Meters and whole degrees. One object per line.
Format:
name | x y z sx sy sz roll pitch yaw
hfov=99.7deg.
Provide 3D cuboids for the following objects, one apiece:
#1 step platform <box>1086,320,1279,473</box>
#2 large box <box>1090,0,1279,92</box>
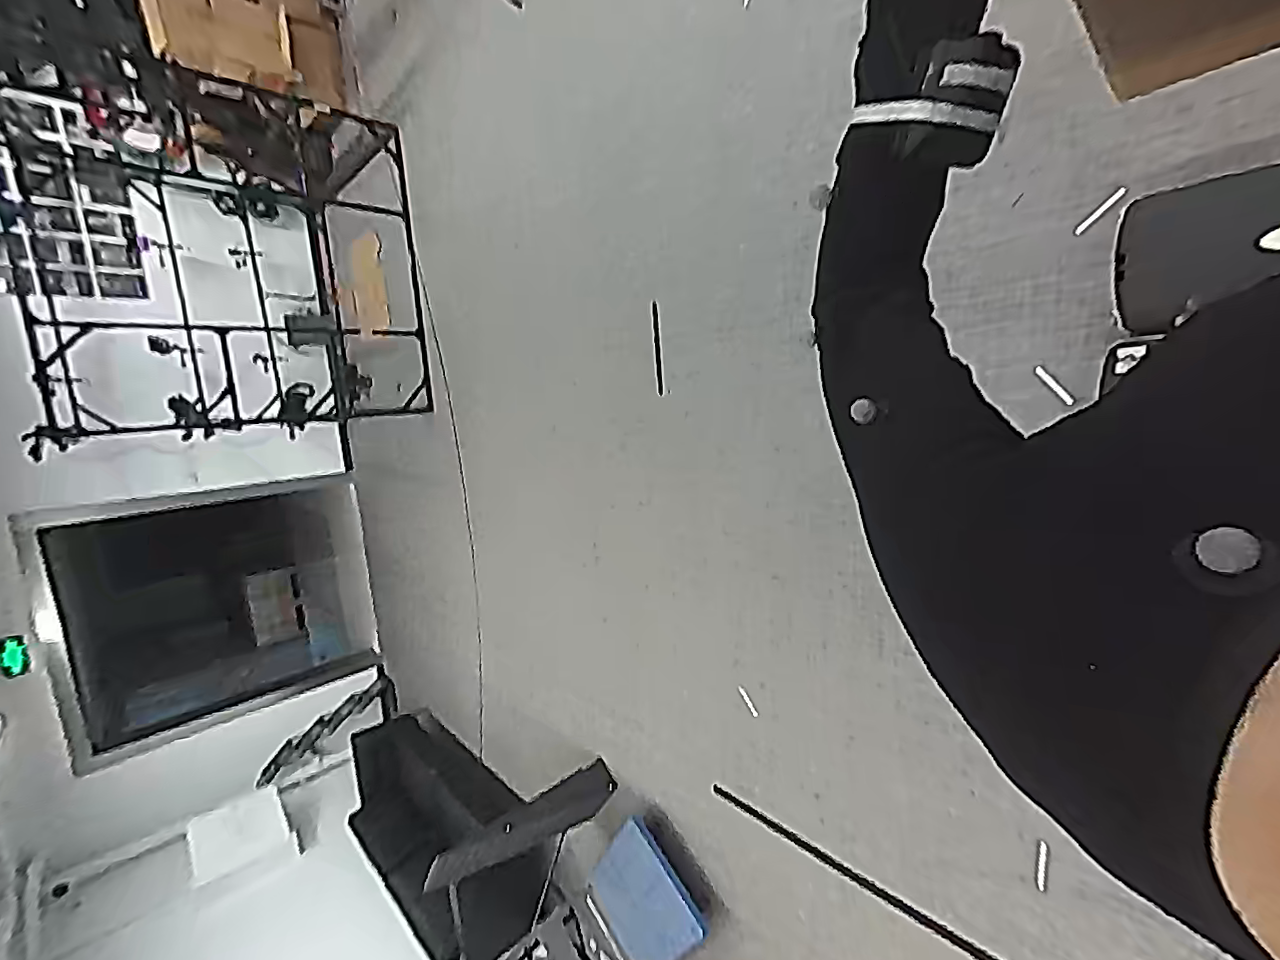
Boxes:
step platform | 1.257 -0.158 0.986 0.684 0.204 0.286 3 101 49
large box | 0.453 -0.469 0.234 0.408 0.320 0.320 2 103 46
